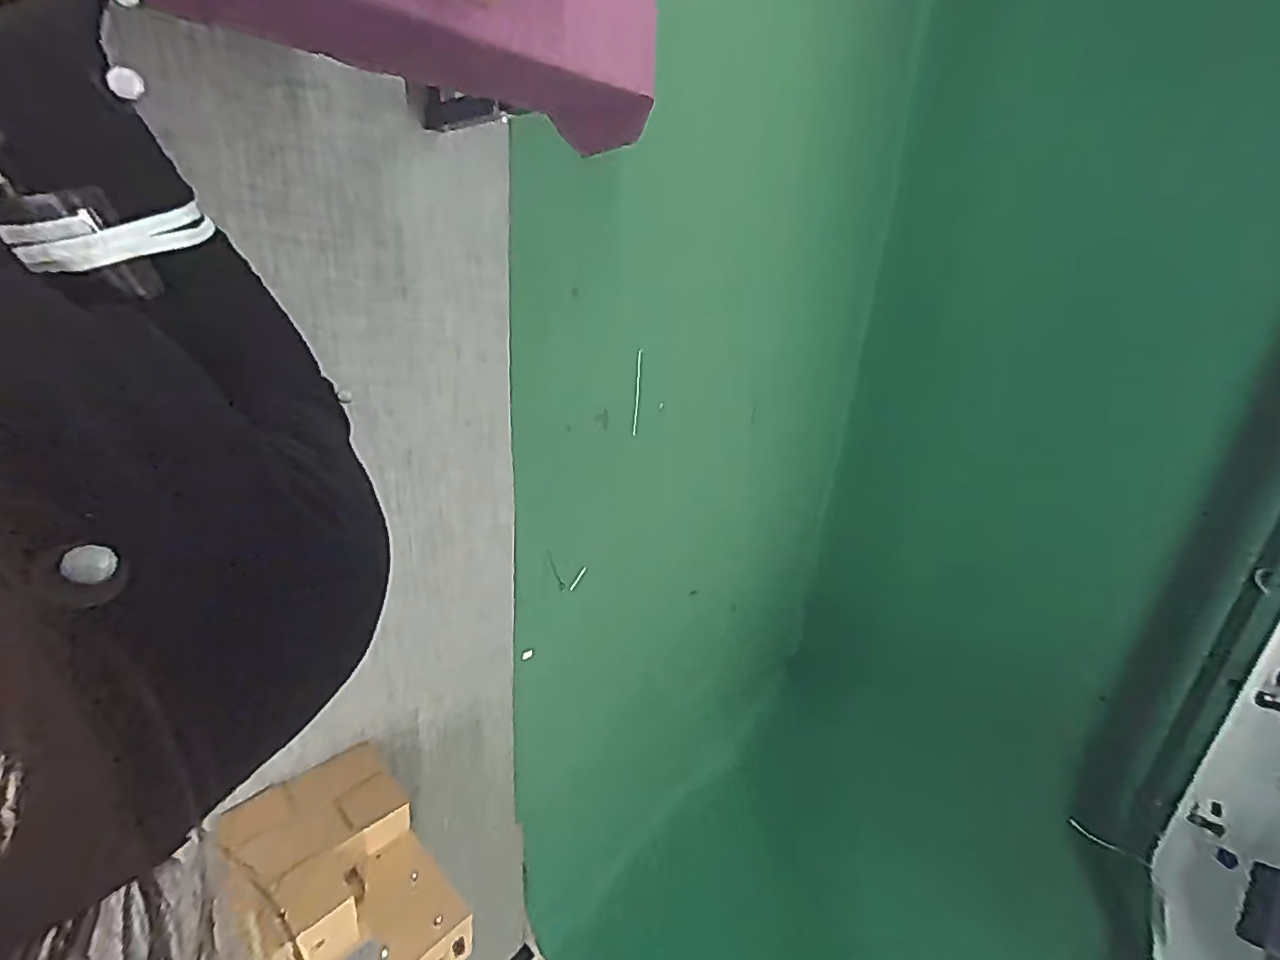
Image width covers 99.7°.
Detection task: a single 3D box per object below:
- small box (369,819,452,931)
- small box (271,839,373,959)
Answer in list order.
[{"bbox_3d":[-0.667,1.143,1.569,0.168,0.176,0.179,-16,120,-48],"label":"small box"},{"bbox_3d":[-0.802,1.067,1.361,0.179,0.176,0.168,-18,121,-46],"label":"small box"}]
